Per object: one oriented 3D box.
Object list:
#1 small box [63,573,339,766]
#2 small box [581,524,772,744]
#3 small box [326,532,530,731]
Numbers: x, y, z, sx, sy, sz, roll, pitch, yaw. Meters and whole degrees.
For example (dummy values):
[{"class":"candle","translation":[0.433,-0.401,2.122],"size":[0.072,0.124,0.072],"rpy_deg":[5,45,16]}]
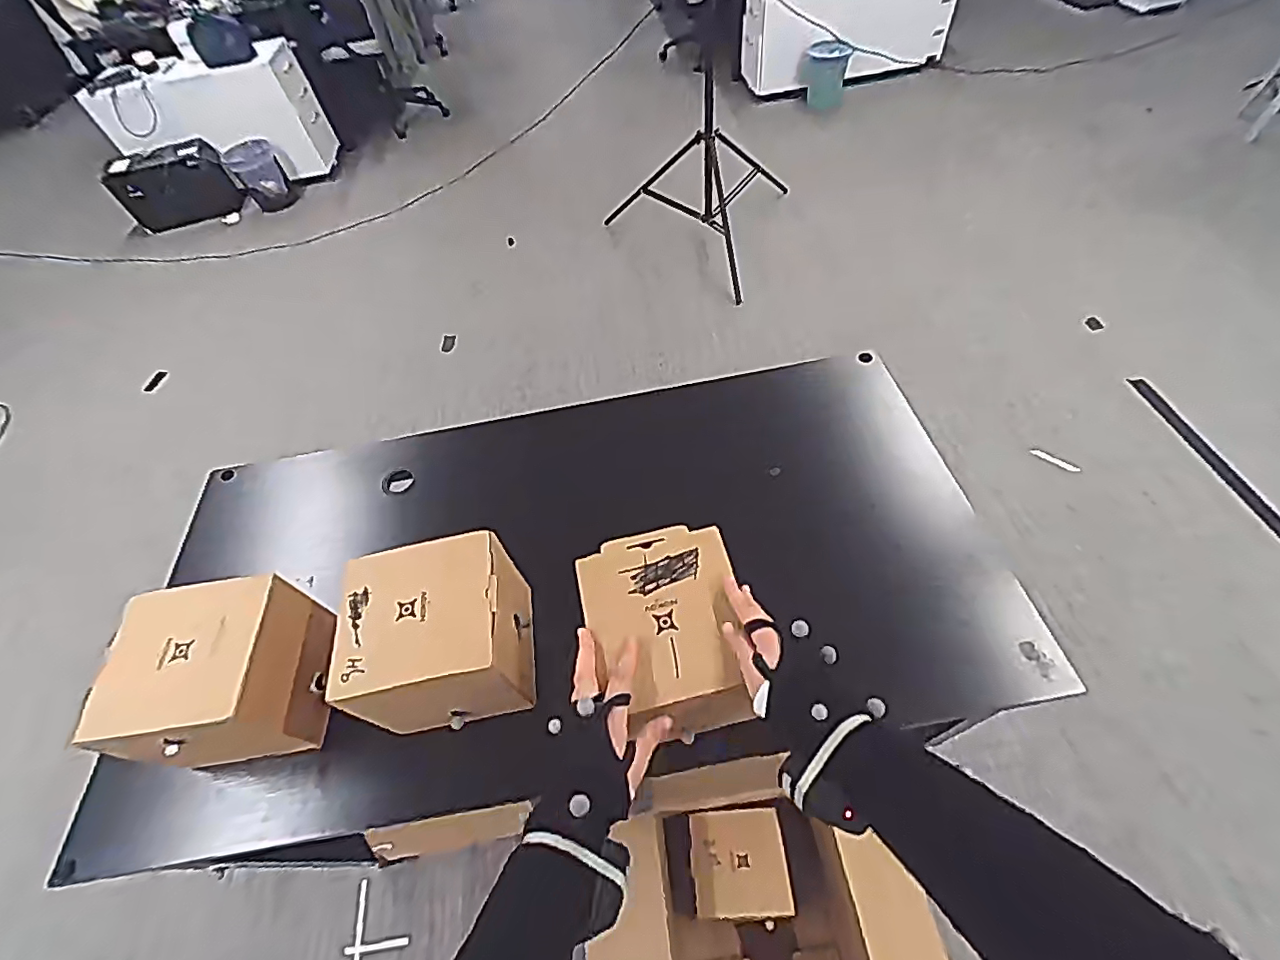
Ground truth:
[{"class":"small box","translation":[-0.493,0.232,0.649],"size":[0.179,0.176,0.168],"rpy_deg":[-9,55,0]},{"class":"small box","translation":[0.036,0.179,0.618],"size":[0.168,0.176,0.179],"rpy_deg":[-13,55,-2]},{"class":"small box","translation":[-0.234,0.186,0.650],"size":[0.179,0.176,0.168],"rpy_deg":[-11,54,-2]}]
